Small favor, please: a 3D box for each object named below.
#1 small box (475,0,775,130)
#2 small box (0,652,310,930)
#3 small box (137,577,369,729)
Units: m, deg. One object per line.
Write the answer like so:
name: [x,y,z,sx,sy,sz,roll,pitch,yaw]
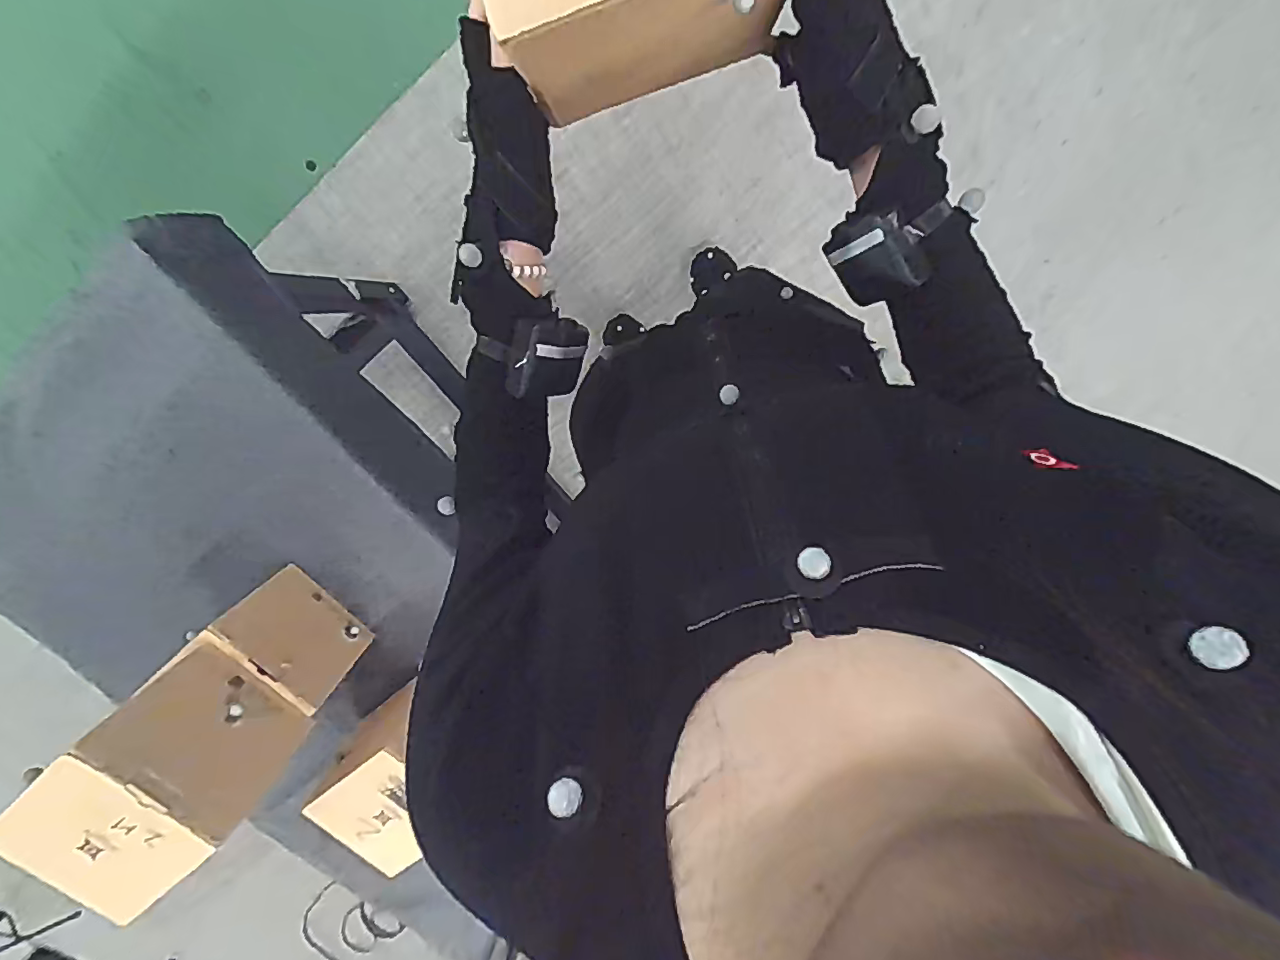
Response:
small box: [-0.015,-0.343,0.322,0.179,0.176,0.168,-17,108,7]
small box: [-0.523,0.335,0.606,0.179,0.176,0.168,-40,103,12]
small box: [-0.517,0.268,0.756,0.179,0.176,0.168,-39,103,13]
